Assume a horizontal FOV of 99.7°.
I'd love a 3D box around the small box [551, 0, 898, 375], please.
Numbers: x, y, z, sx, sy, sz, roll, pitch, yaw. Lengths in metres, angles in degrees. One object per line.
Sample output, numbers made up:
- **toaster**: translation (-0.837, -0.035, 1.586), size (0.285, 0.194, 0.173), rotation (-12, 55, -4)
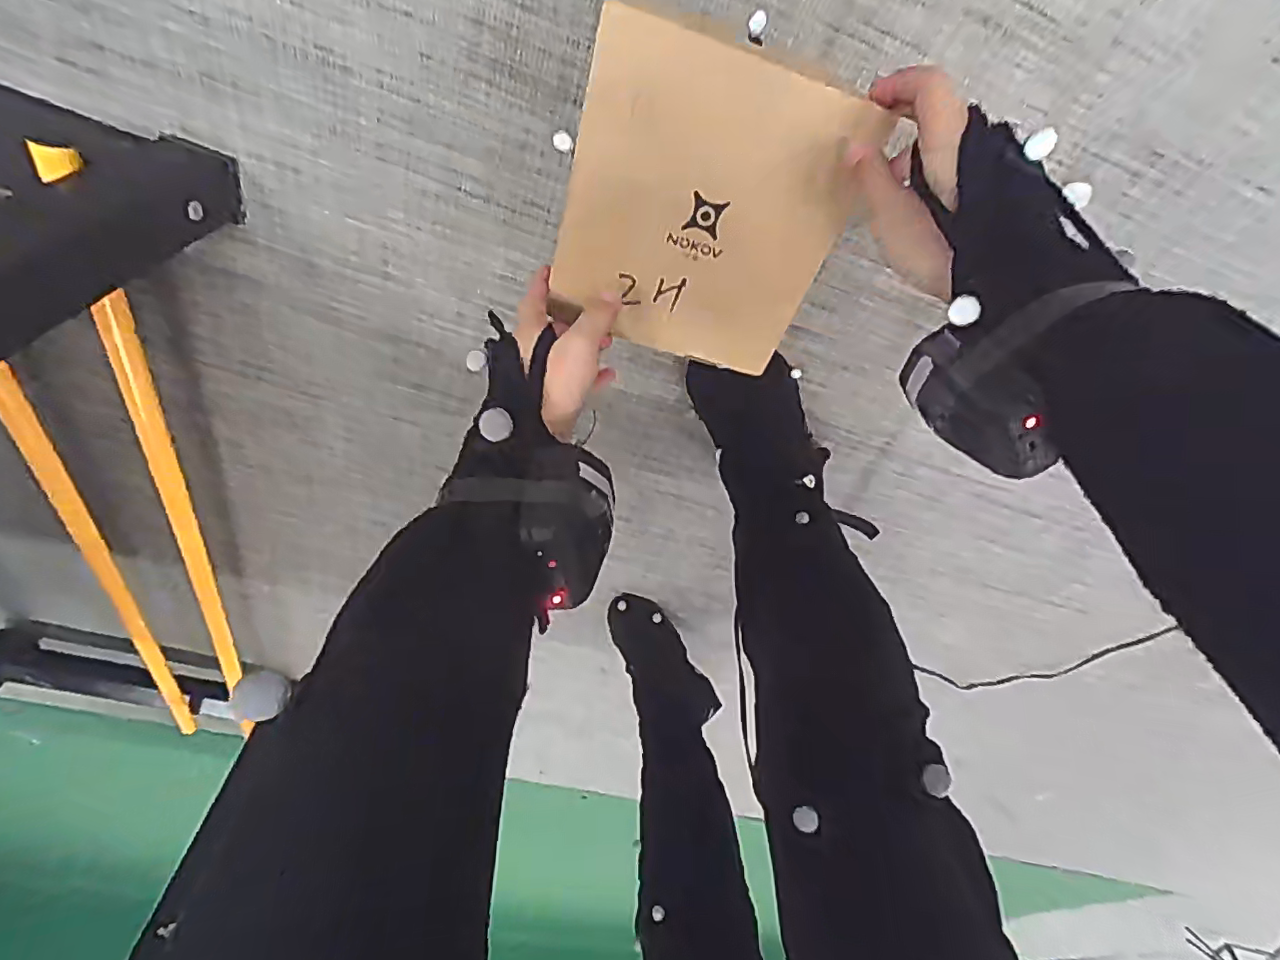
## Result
- **small box**: translation (0.042, -0.212, 0.393), size (0.168, 0.176, 0.179), rotation (14, 132, -10)
